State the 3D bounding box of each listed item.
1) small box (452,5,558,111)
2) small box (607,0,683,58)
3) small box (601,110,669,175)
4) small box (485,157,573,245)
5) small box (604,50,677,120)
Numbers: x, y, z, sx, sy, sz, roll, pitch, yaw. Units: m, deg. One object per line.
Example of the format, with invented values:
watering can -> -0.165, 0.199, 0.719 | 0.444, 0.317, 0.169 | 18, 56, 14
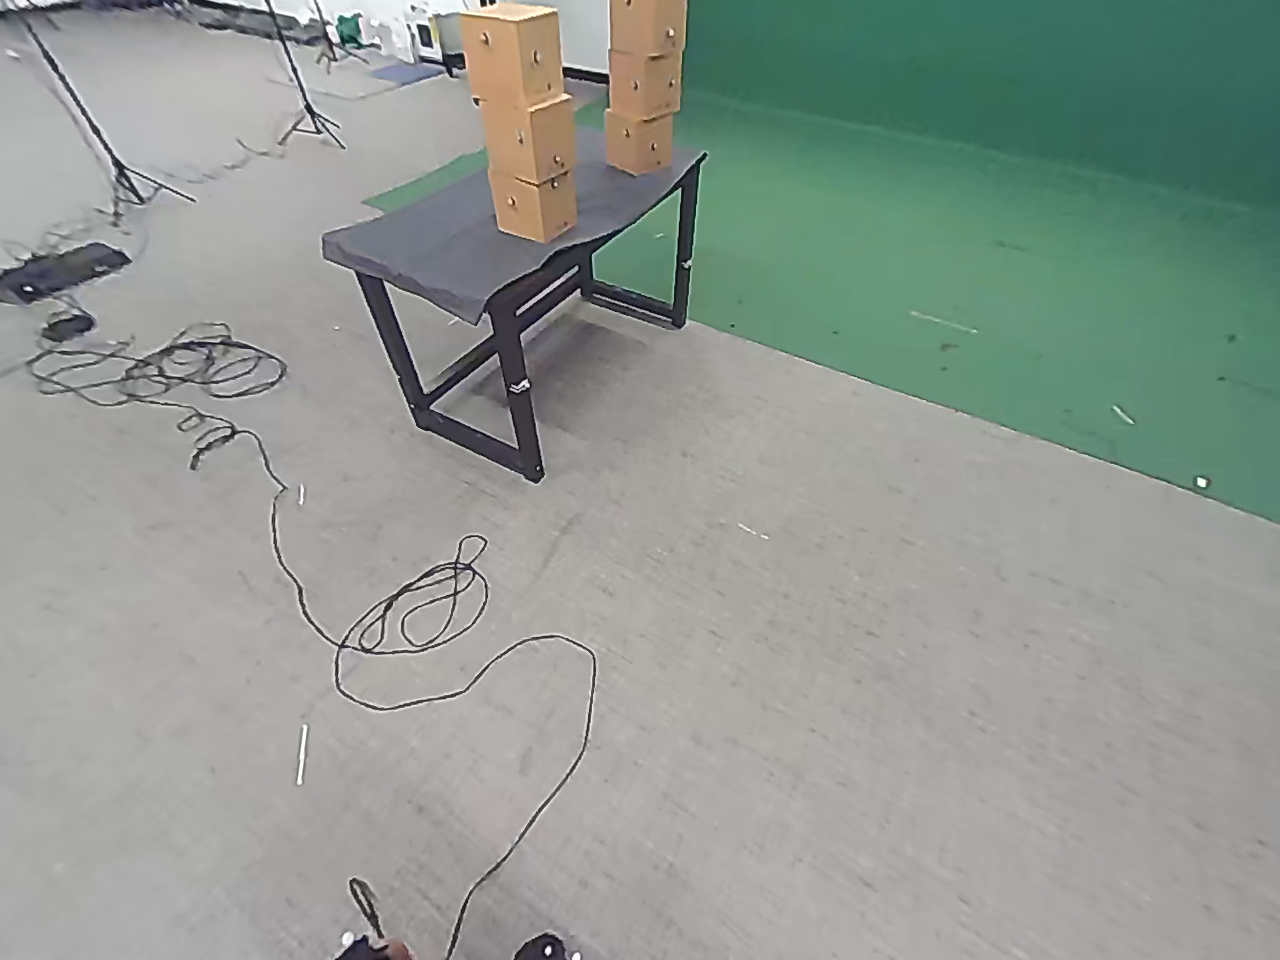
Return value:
small box -> -0.317, -1.024, 1.316 | 0.179, 0.176, 0.168 | 24, 53, 19
small box -> 0.011, -1.410, 1.646 | 0.179, 0.176, 0.168 | 32, 56, 24
small box -> -0.016, -1.185, 1.883 | 0.168, 0.176, 0.179 | -32, 55, -25
small box -> -0.312, -0.802, 1.558 | 0.179, 0.176, 0.168 | 23, 53, 19
small box -> 0.002, -1.300, 1.768 | 0.168, 0.176, 0.179 | -36, 56, -28
